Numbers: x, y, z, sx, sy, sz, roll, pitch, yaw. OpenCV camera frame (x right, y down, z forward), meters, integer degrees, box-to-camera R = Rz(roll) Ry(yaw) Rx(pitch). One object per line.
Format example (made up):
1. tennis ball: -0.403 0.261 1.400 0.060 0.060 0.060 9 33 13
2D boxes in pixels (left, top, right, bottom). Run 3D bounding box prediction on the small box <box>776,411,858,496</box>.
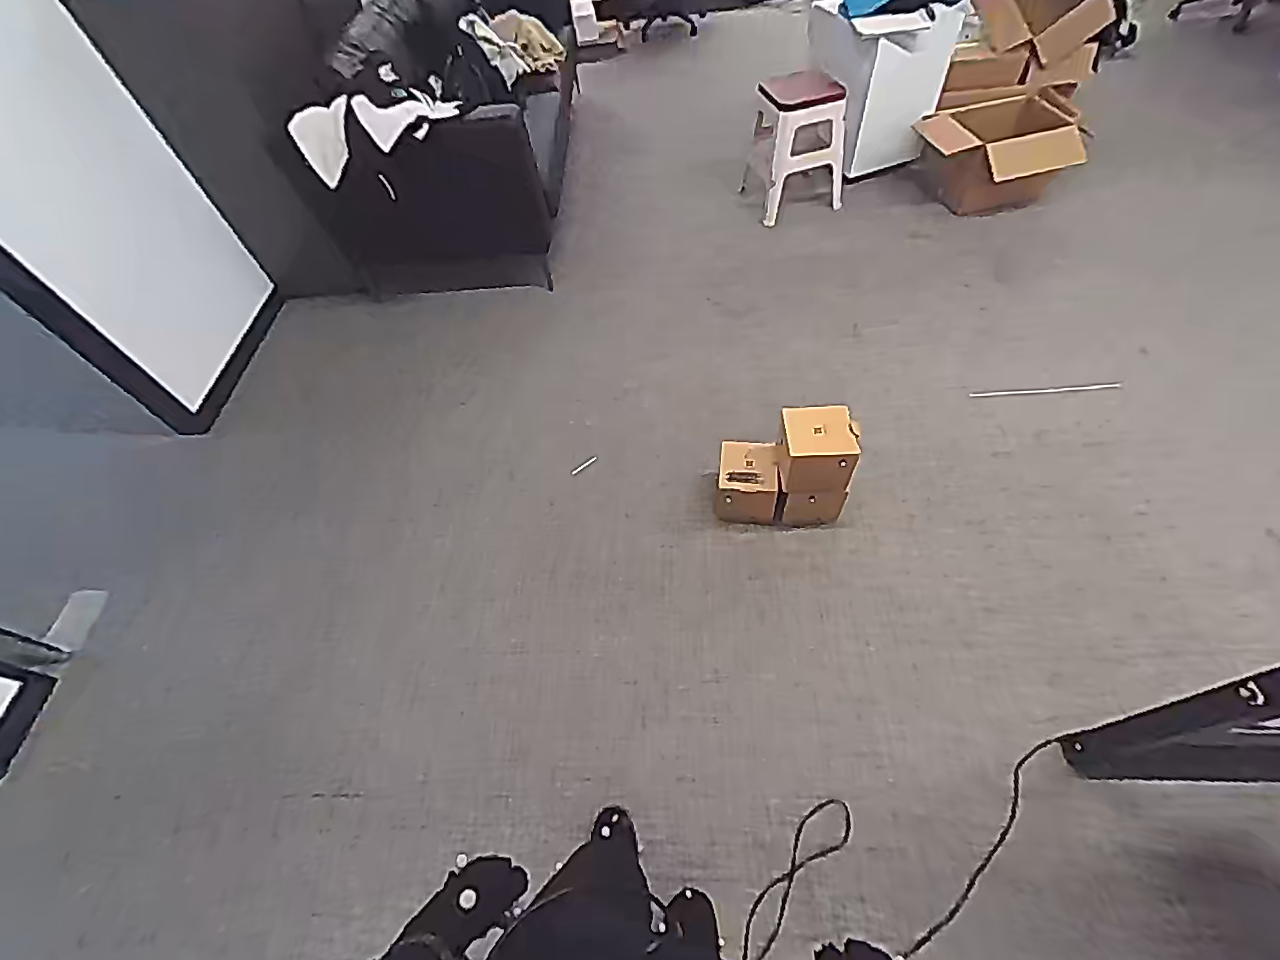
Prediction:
1. small box: 0.472 -0.068 1.473 0.179 0.176 0.168 -3 54 4
